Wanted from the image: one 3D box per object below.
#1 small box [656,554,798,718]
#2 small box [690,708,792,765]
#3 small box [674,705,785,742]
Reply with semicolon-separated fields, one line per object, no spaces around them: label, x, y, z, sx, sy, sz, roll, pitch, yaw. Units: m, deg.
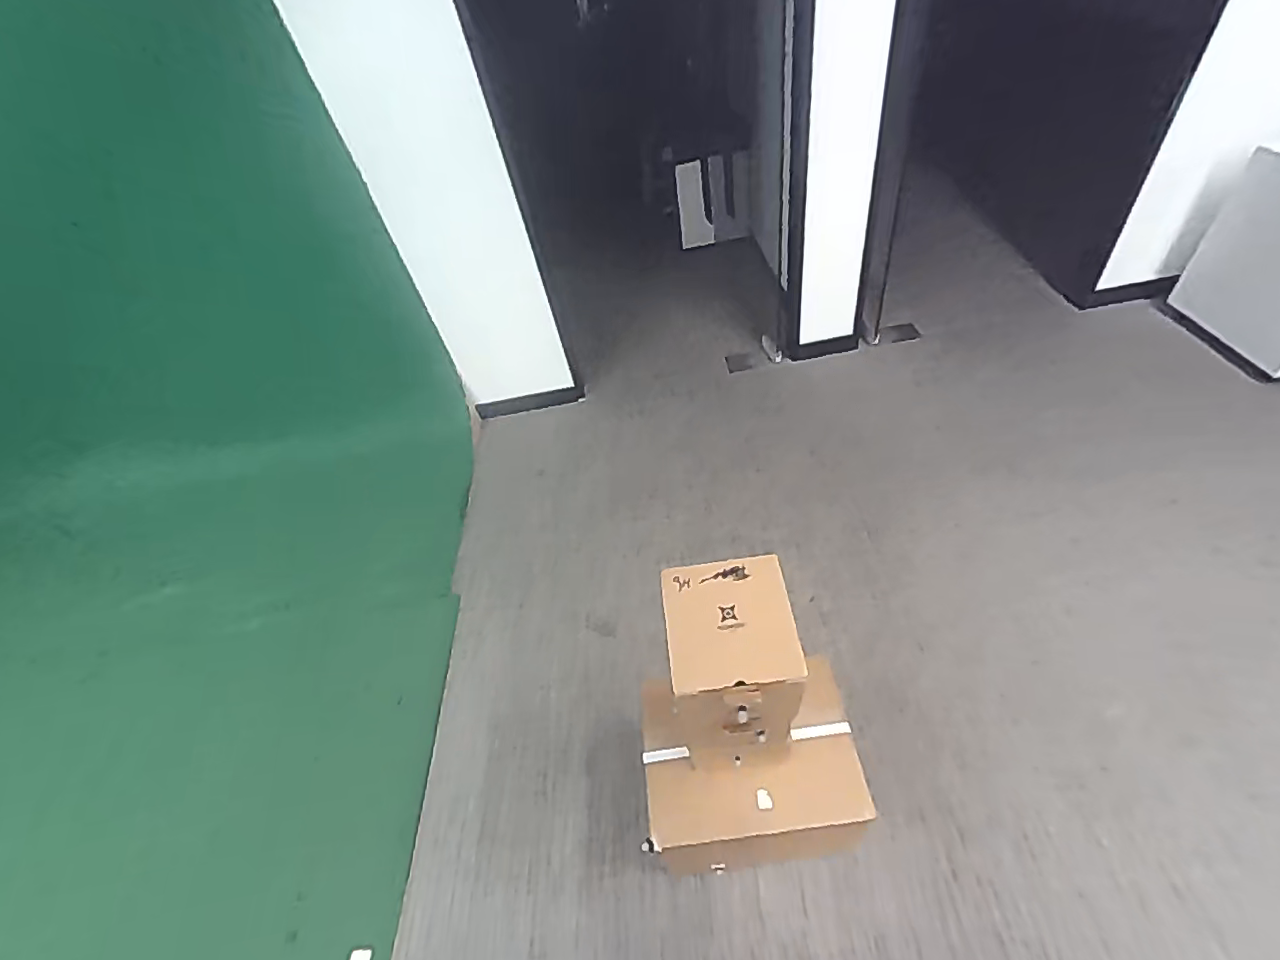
small box;0.121;0.231;0.774;0.168;0.176;0.179;-9;53;4
small box;0.175;0.429;1.026;0.179;0.176;0.168;-10;52;3
small box;0.141;0.327;0.905;0.168;0.176;0.179;-8;51;4
